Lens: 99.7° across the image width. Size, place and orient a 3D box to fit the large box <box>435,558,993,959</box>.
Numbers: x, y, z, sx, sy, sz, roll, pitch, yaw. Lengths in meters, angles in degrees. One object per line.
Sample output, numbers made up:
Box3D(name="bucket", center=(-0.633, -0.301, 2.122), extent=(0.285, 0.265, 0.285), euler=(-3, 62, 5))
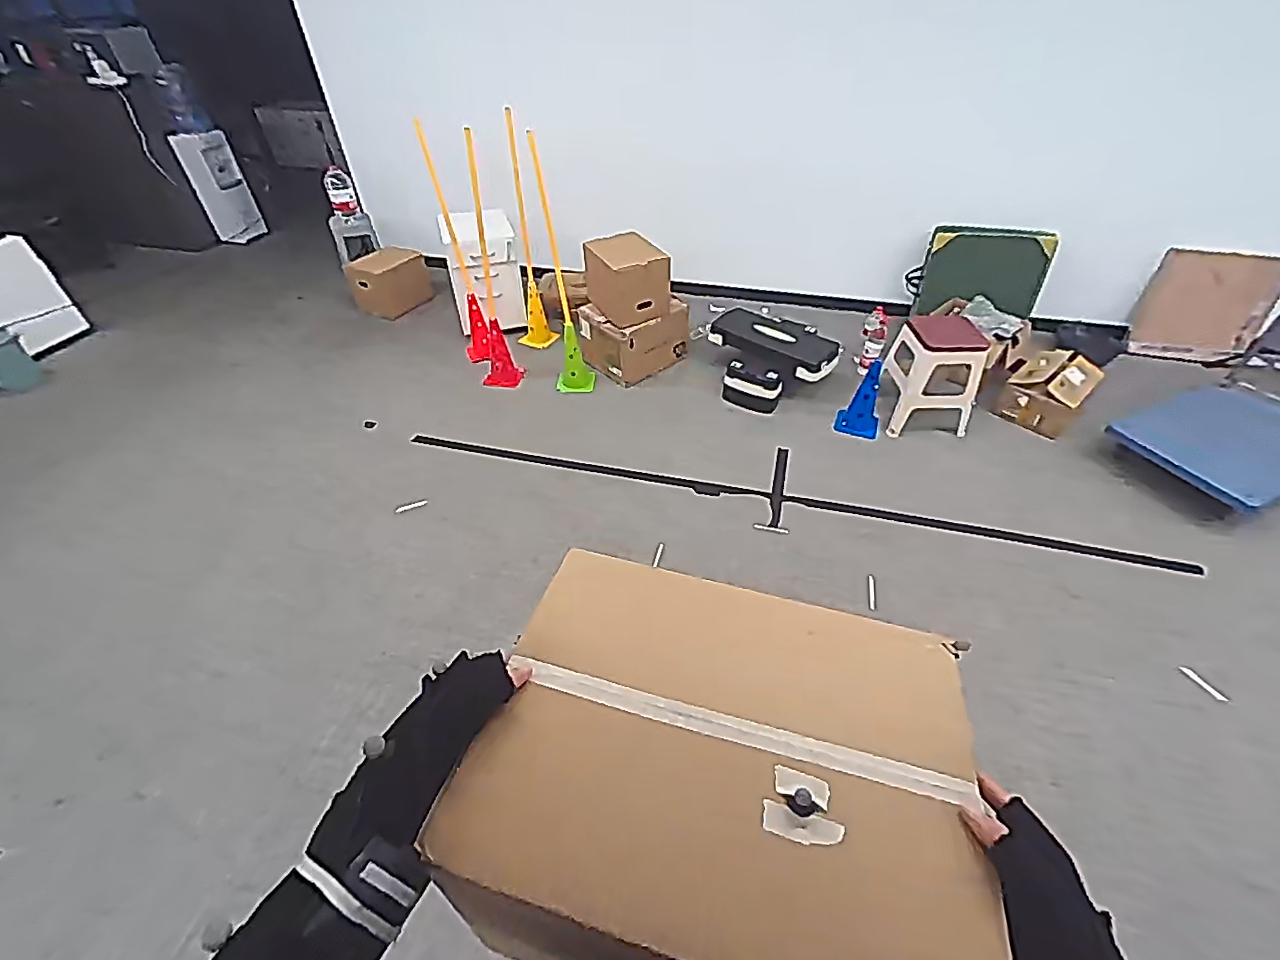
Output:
Box3D(name="large box", center=(0.069, 0.333, 0.571), extent=(0.408, 0.320, 0.320), euler=(12, 41, 12))
